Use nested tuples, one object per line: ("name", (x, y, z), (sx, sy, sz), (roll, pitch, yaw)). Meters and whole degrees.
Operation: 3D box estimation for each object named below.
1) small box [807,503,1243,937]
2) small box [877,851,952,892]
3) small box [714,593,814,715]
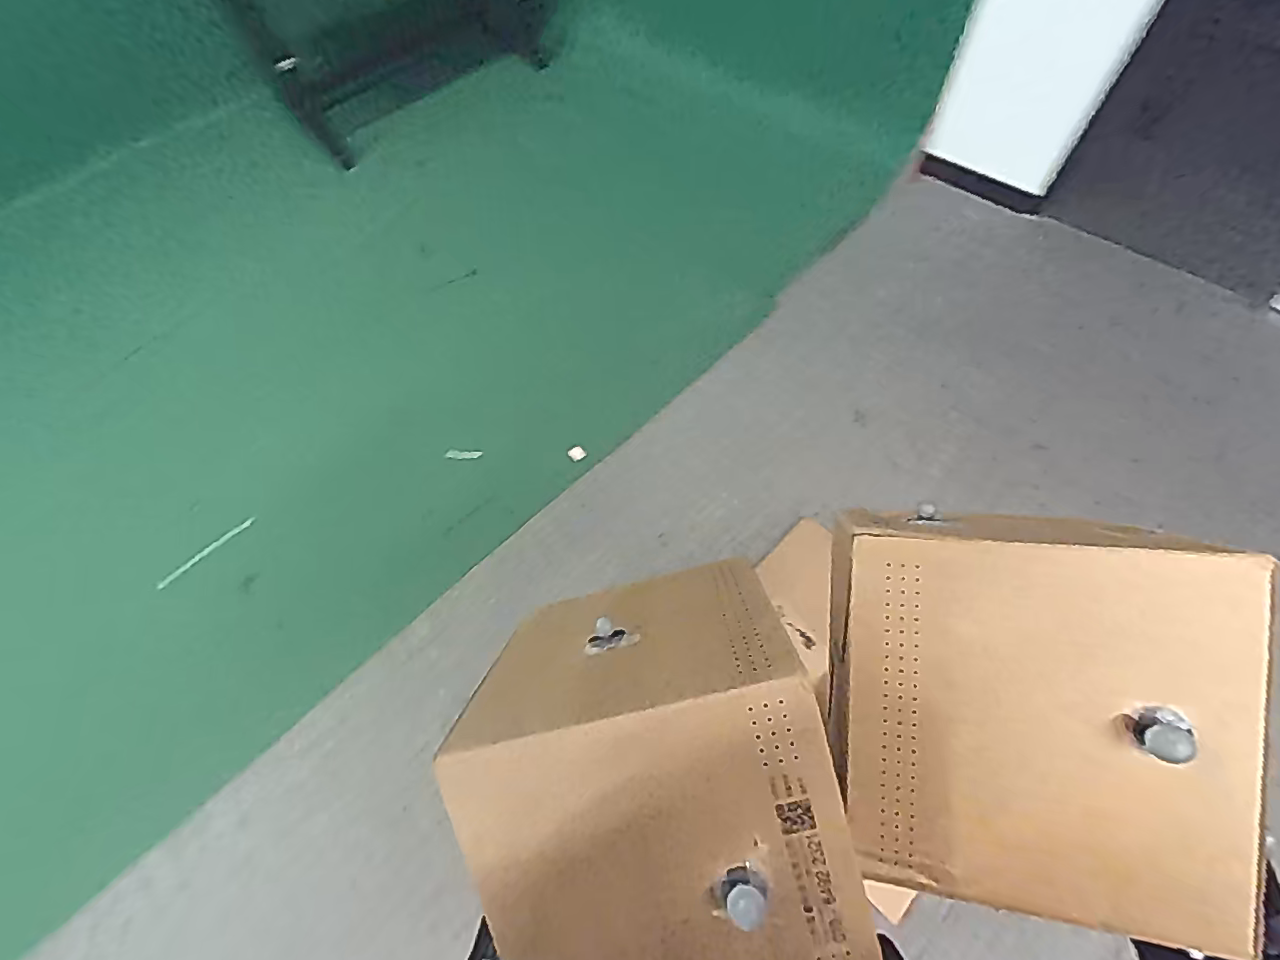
("small box", (0.191, 0.107, 0.325), (0.176, 0.168, 0.179), (-1, 91, 16))
("small box", (0.496, 0.595, 0.985), (0.179, 0.176, 0.168), (-32, 64, -10))
("small box", (0.271, 0.369, 1.127), (0.179, 0.176, 0.168), (-34, 66, -12))
